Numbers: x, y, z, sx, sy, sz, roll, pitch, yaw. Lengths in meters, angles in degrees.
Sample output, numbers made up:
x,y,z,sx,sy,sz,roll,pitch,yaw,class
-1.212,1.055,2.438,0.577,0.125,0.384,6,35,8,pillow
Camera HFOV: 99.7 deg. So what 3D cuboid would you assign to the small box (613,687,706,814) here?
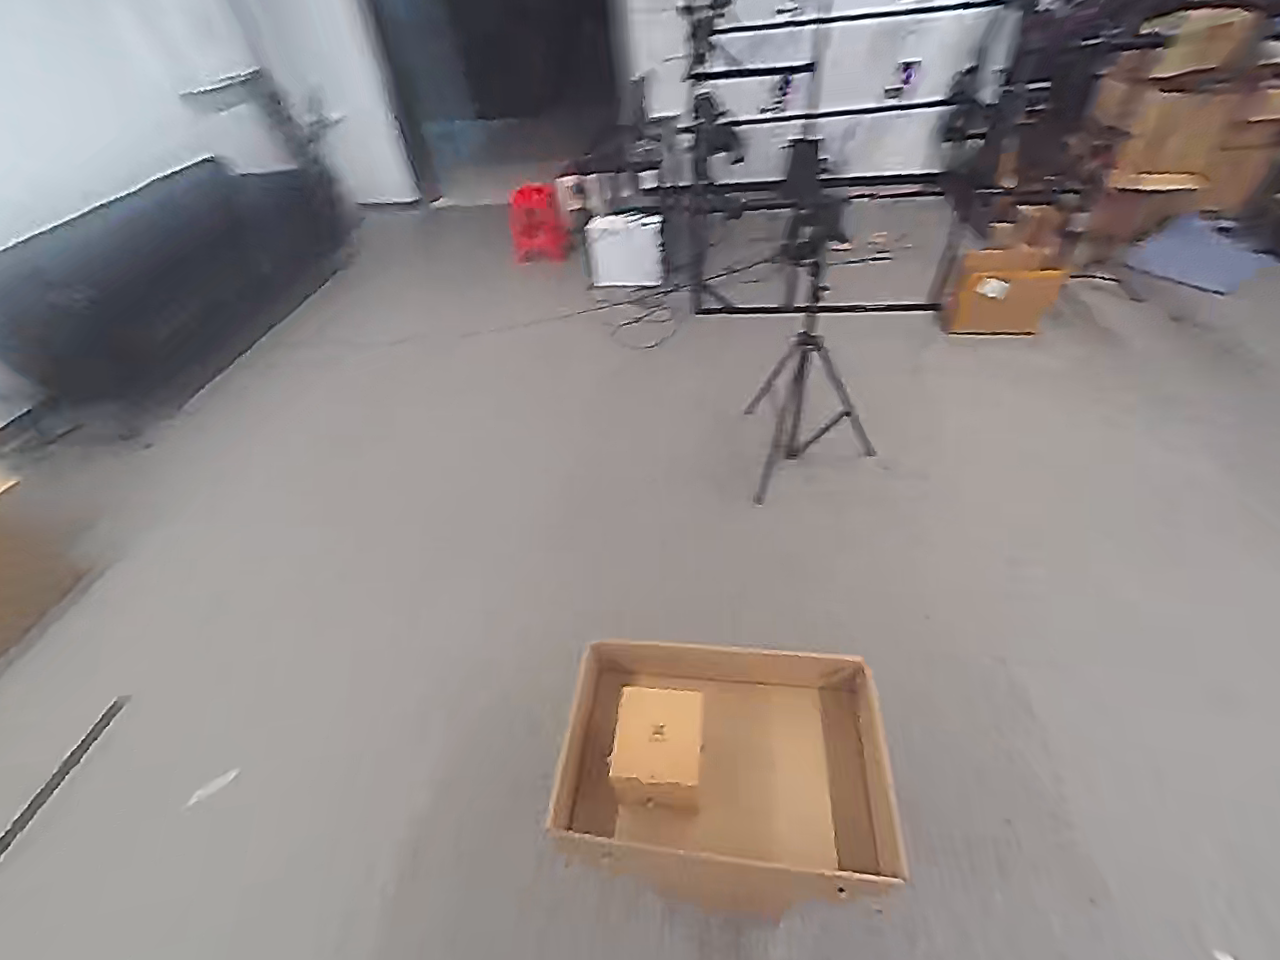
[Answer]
x,y,z,sx,sy,sz,roll,pitch,yaw,class
0.046,0.550,1.101,0.168,0.176,0.179,2,45,9,small box
